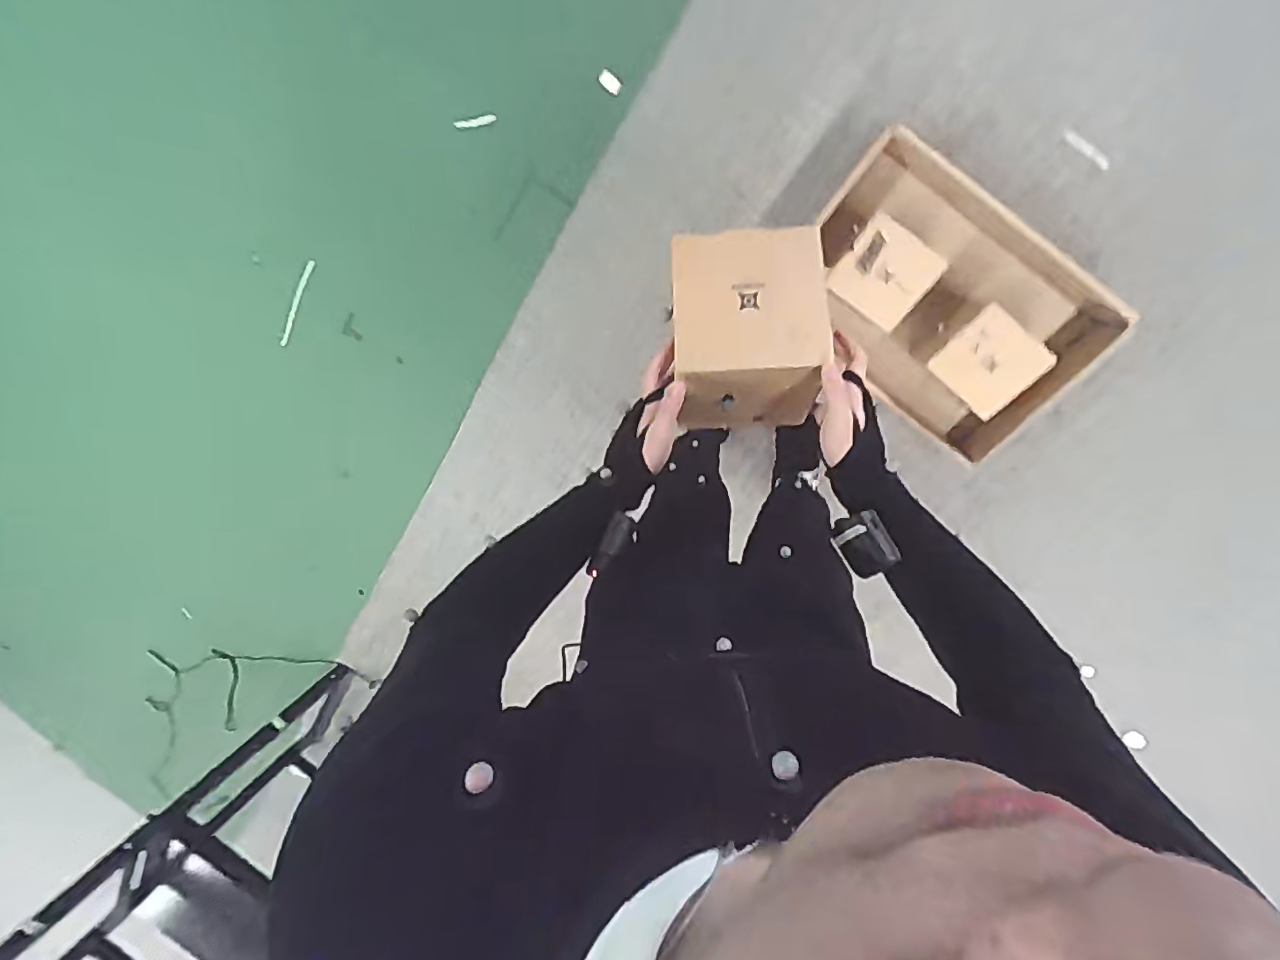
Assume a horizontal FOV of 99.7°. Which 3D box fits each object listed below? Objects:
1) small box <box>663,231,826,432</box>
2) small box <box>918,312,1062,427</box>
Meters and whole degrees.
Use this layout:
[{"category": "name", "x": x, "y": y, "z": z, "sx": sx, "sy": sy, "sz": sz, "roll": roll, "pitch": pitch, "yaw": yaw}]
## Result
[{"category": "small box", "x": 0.118, "y": -0.165, "z": 0.657, "sx": 0.168, "sy": 0.176, "sz": 0.179, "roll": -3, "pitch": 71, "yaw": 6}, {"category": "small box", "x": 0.735, "y": -0.244, "z": 1.158, "sx": 0.179, "sy": 0.176, "sz": 0.168, "roll": 43, "pitch": 114, "yaw": 0}]
